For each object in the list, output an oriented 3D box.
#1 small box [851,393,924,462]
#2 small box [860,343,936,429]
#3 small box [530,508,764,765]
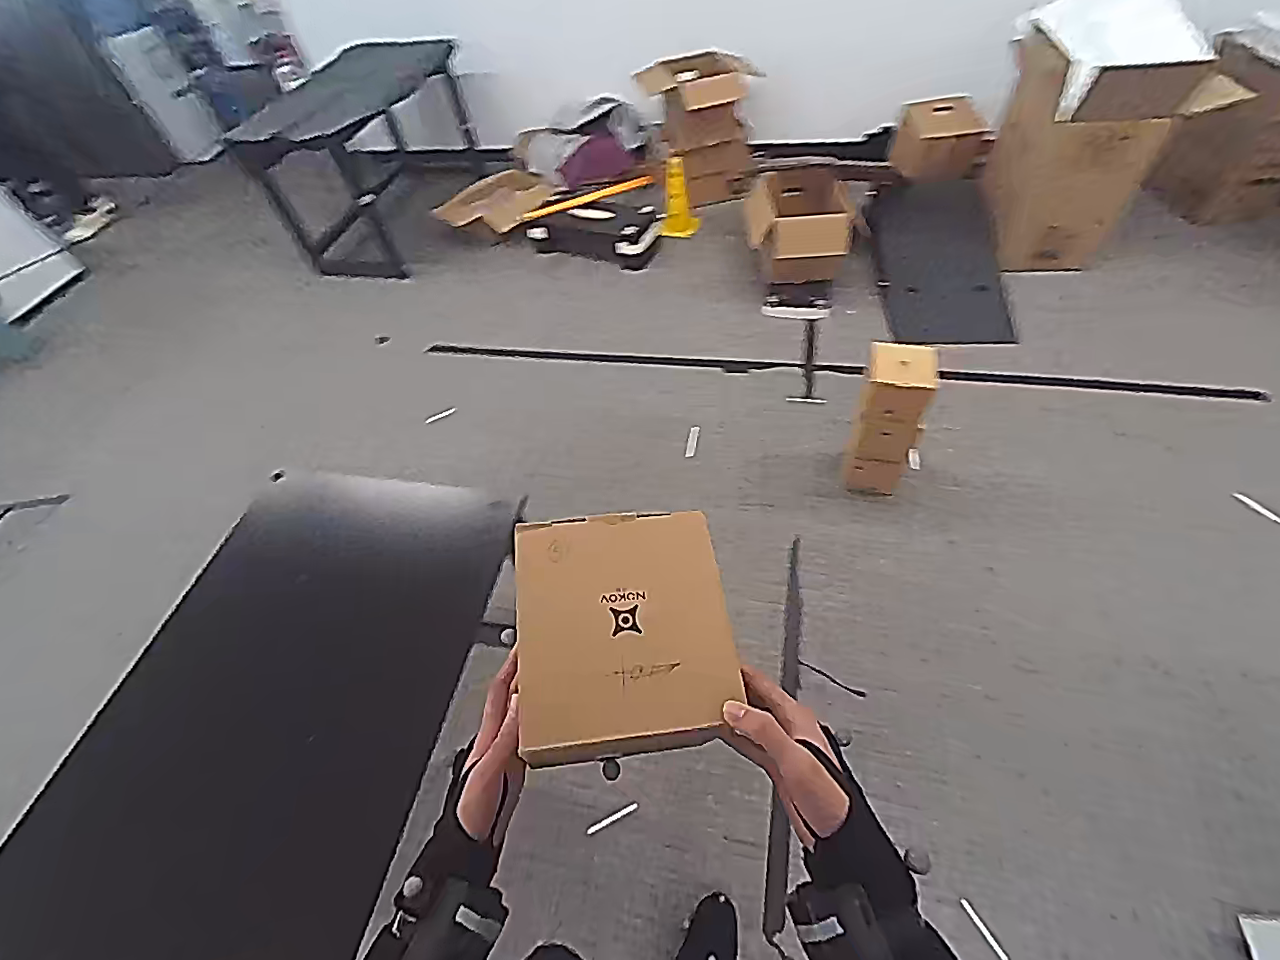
[{"bbox_3d":[0.782,-0.175,1.729,0.179,0.176,0.168,7,54,10],"label":"small box"},{"bbox_3d":[0.758,-0.278,1.605,0.168,0.176,0.179,8,55,12],"label":"small box"},{"bbox_3d":[-0.010,0.141,0.478,0.168,0.176,0.179,-2,59,-9],"label":"small box"}]
